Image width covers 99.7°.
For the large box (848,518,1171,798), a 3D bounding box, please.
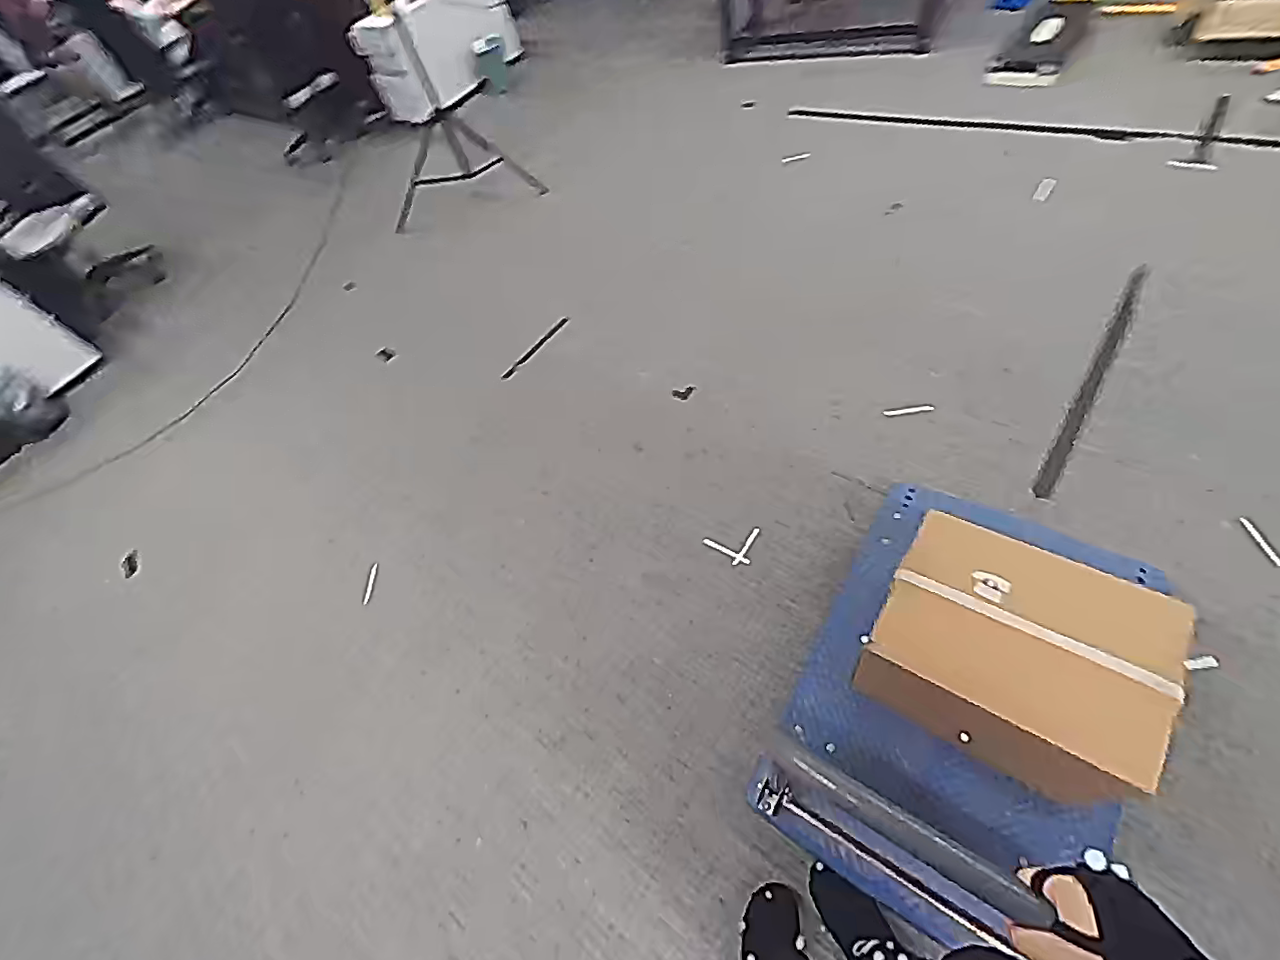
[{"bbox_3d":[0.660,0.336,1.031,0.408,0.320,0.320,23,65,29],"label":"large box"}]
